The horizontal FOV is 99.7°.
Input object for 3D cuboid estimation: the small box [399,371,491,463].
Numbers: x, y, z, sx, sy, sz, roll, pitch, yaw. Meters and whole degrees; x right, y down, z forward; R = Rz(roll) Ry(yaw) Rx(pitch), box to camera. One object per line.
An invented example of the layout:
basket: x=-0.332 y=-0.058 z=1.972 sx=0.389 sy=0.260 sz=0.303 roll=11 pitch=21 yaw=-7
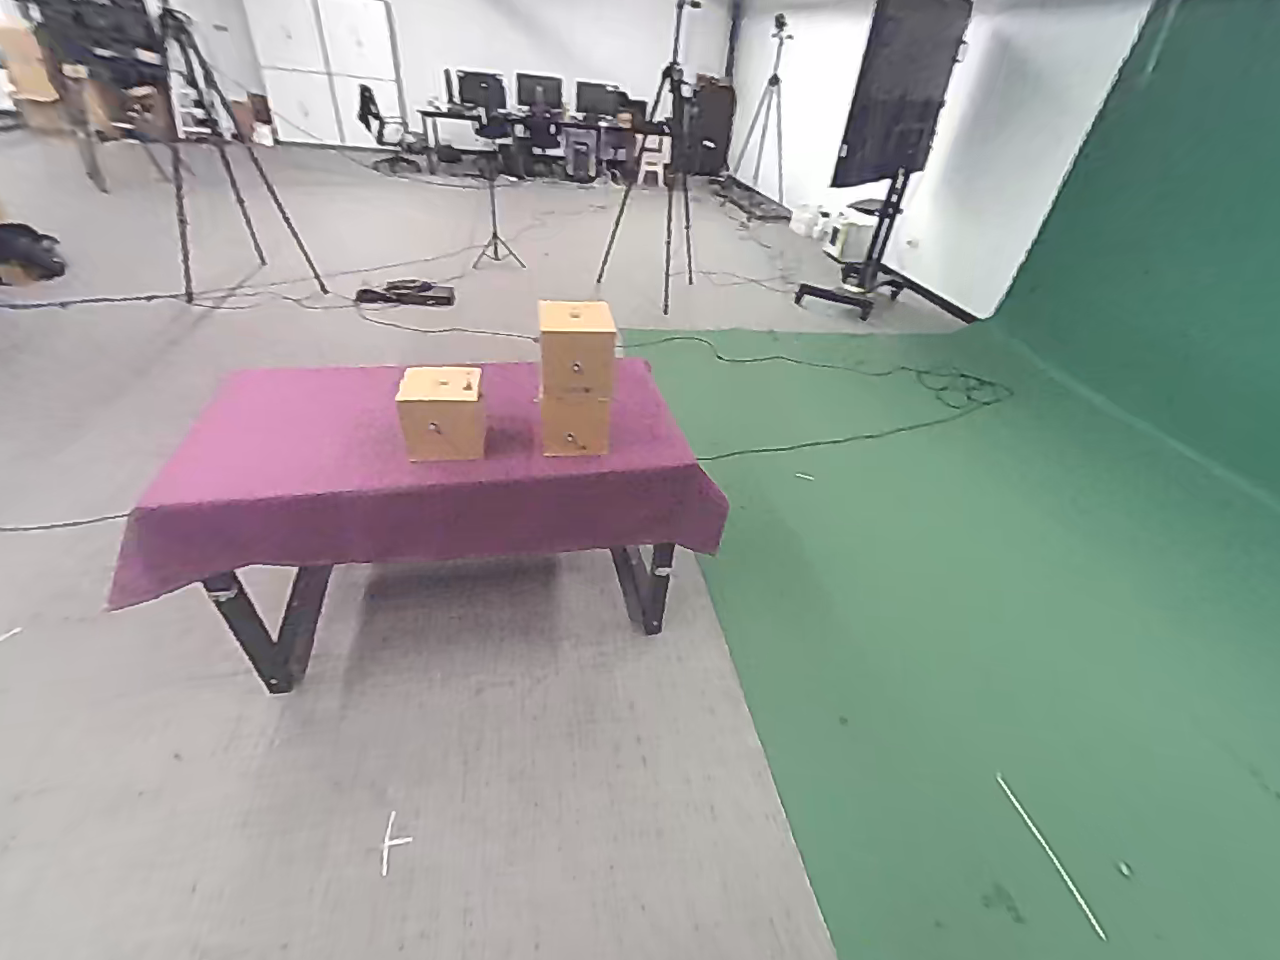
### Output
small box: x=-0.468 y=-0.153 z=1.321 sx=0.179 sy=0.176 sz=0.168 roll=-2 pitch=38 yaw=-10

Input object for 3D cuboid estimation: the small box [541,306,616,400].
small box: x=-0.149 y=-0.301 z=1.290 sx=0.168 sy=0.176 sz=0.179 roll=-2 pitch=38 yaw=-11

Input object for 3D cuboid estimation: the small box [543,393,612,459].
small box: x=-0.165 y=-0.171 z=1.390 sx=0.168 sy=0.176 sz=0.179 roll=-1 pitch=39 yaw=-9
